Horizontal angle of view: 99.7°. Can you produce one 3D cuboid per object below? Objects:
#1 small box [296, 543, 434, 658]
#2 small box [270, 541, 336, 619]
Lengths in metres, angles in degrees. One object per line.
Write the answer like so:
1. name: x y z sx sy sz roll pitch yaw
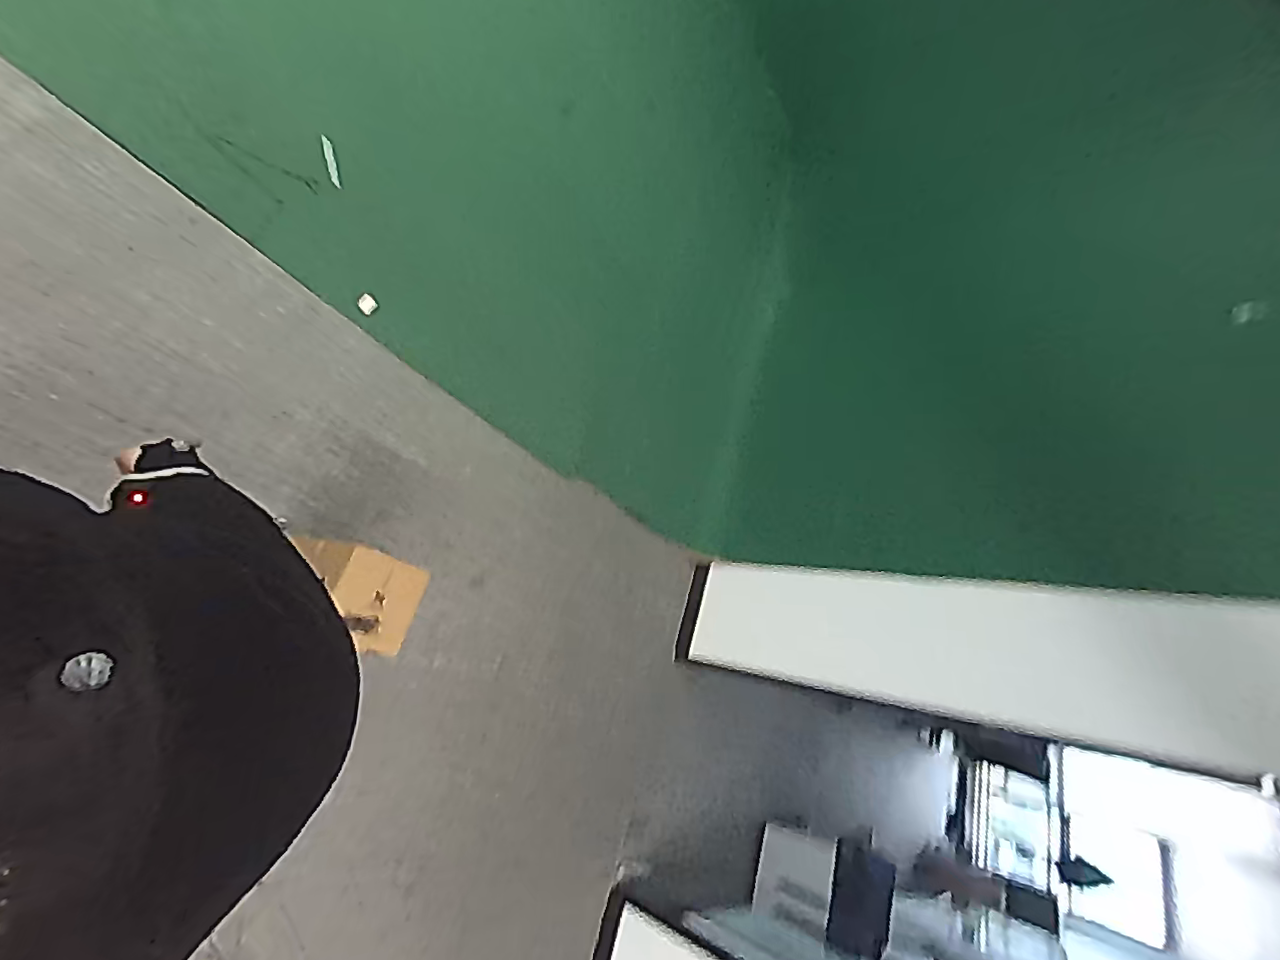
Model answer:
1. small box: -0.559 0.239 1.092 0.168 0.176 0.179 38 61 -41
2. small box: -0.677 0.240 1.207 0.179 0.176 0.168 35 62 -41
